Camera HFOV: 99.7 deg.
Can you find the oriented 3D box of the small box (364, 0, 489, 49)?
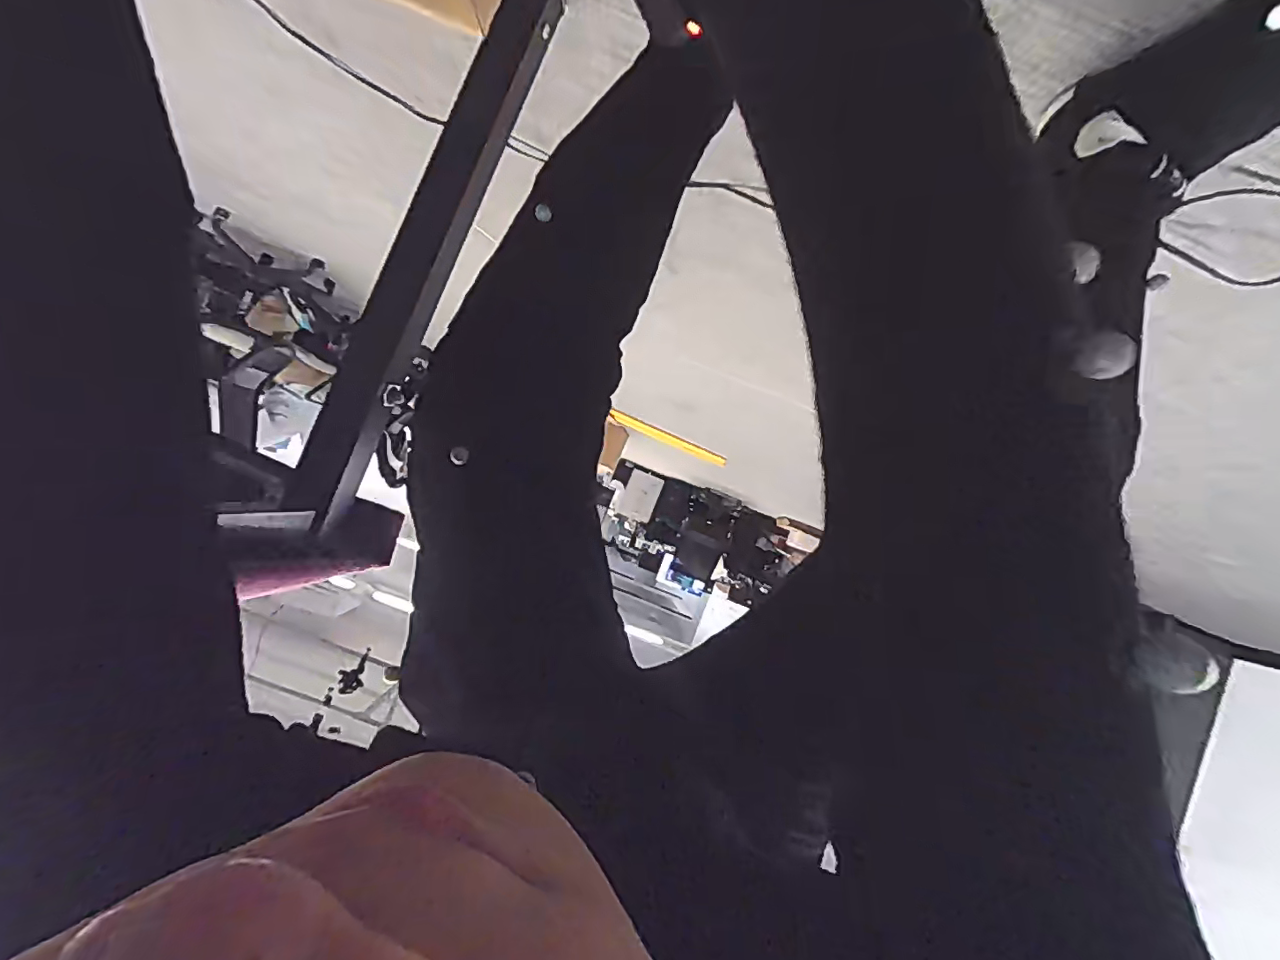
[{"bbox_3d":[-0.202,-0.538,0.456,0.168,0.176,0.179,22,176,-2],"label":"small box"}]
